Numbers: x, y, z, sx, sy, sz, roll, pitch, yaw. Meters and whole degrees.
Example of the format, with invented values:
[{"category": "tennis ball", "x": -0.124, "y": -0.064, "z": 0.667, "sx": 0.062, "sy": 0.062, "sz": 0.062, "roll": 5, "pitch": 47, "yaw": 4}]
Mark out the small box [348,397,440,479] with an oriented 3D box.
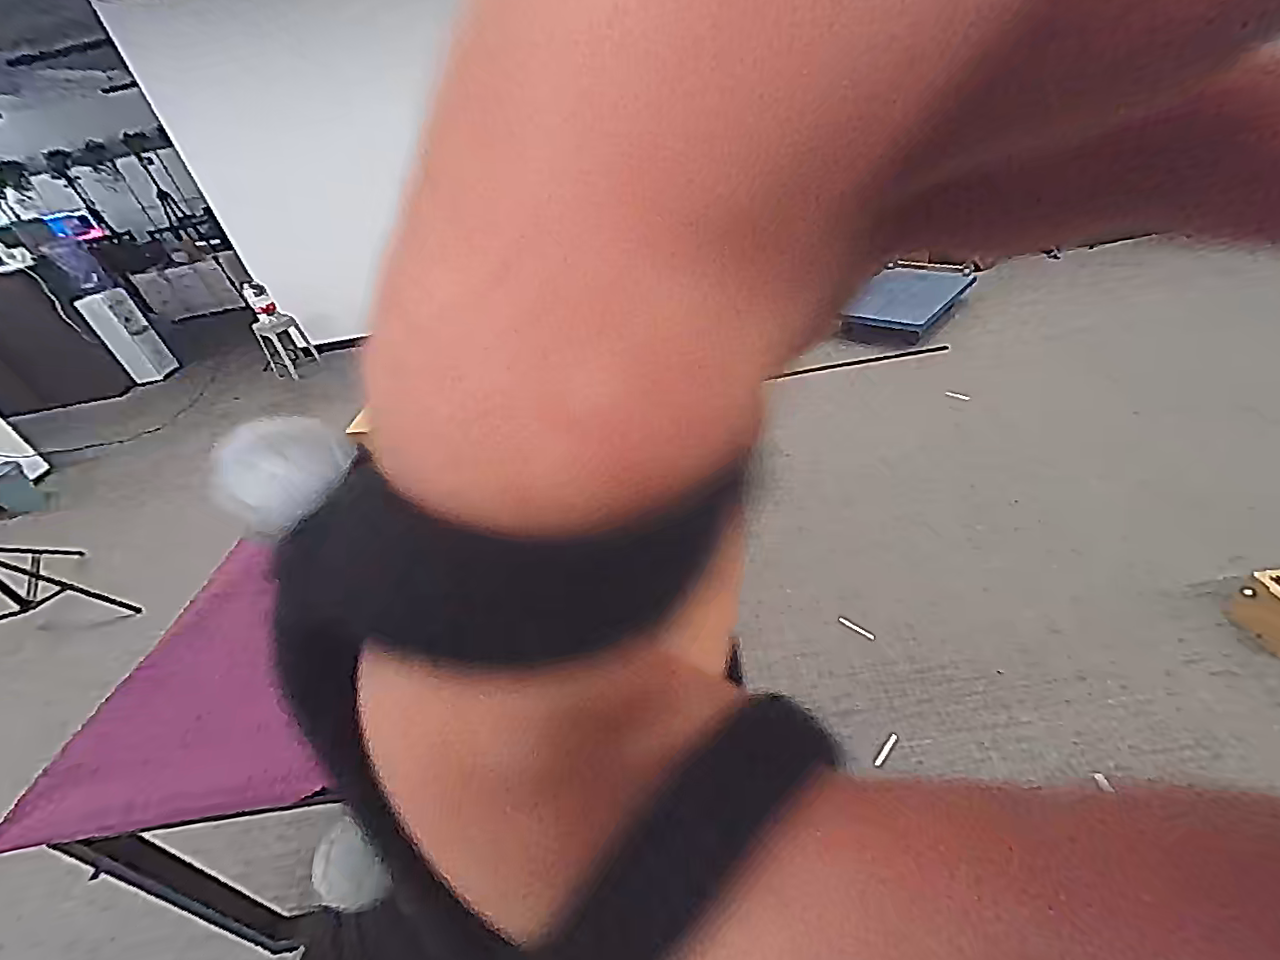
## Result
[{"category": "small box", "x": -0.711, "y": -0.122, "z": 1.591, "sx": 0.168, "sy": 0.176, "sz": 0.179, "roll": -9, "pitch": 37, "yaw": 6}]
